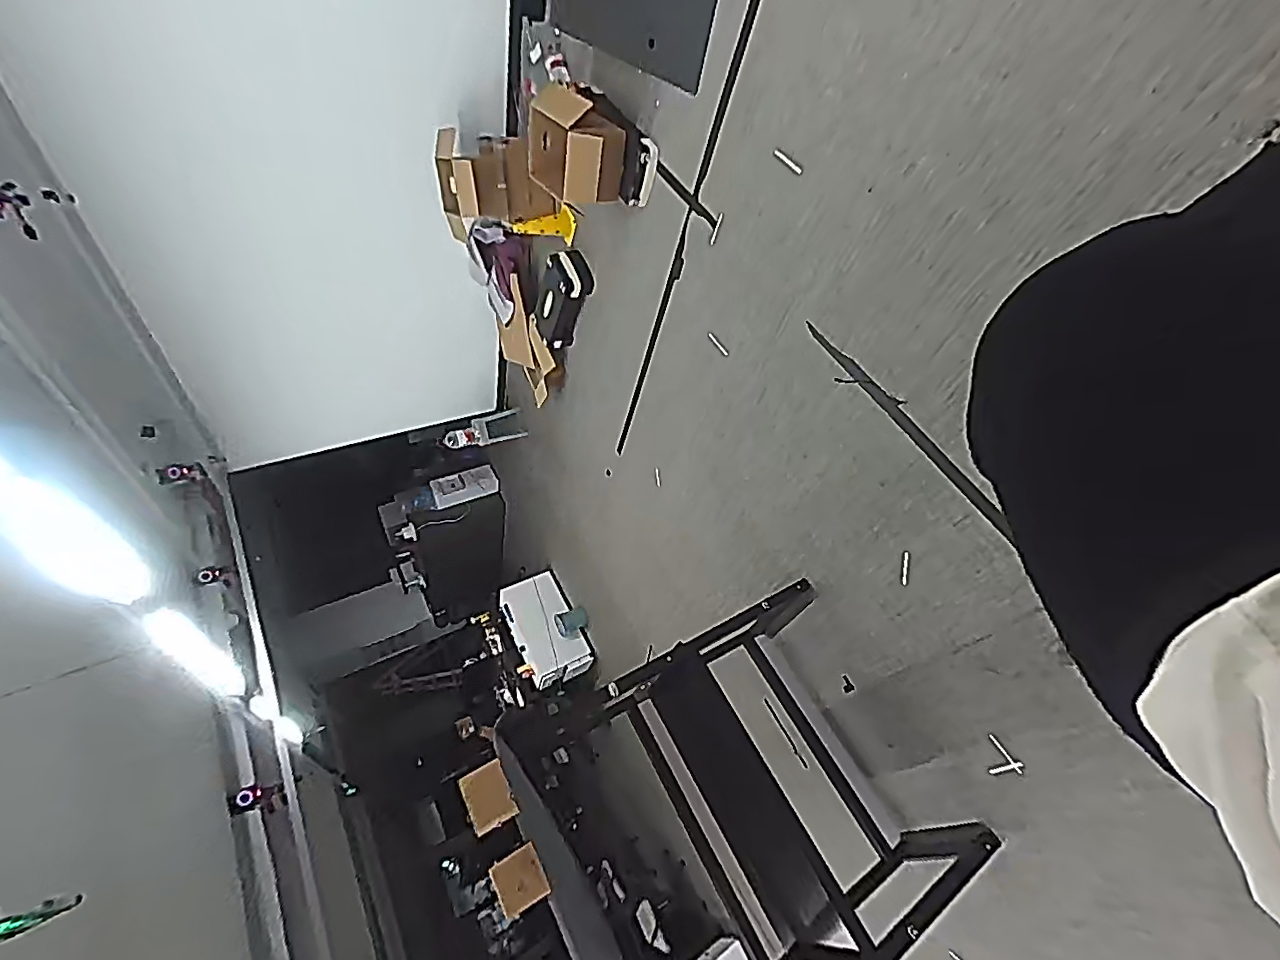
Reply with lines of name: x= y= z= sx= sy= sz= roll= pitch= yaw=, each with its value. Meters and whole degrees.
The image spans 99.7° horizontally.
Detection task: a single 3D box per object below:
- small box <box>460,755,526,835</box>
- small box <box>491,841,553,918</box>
small box: x=-0.496 y=1.066 z=1.838 sx=0.168 sy=0.176 sz=0.179 roll=55 pitch=150 yaw=27
small box: x=-0.428 y=1.443 z=1.960 sx=0.168 sy=0.176 sz=0.179 roll=56 pitch=149 yaw=26
